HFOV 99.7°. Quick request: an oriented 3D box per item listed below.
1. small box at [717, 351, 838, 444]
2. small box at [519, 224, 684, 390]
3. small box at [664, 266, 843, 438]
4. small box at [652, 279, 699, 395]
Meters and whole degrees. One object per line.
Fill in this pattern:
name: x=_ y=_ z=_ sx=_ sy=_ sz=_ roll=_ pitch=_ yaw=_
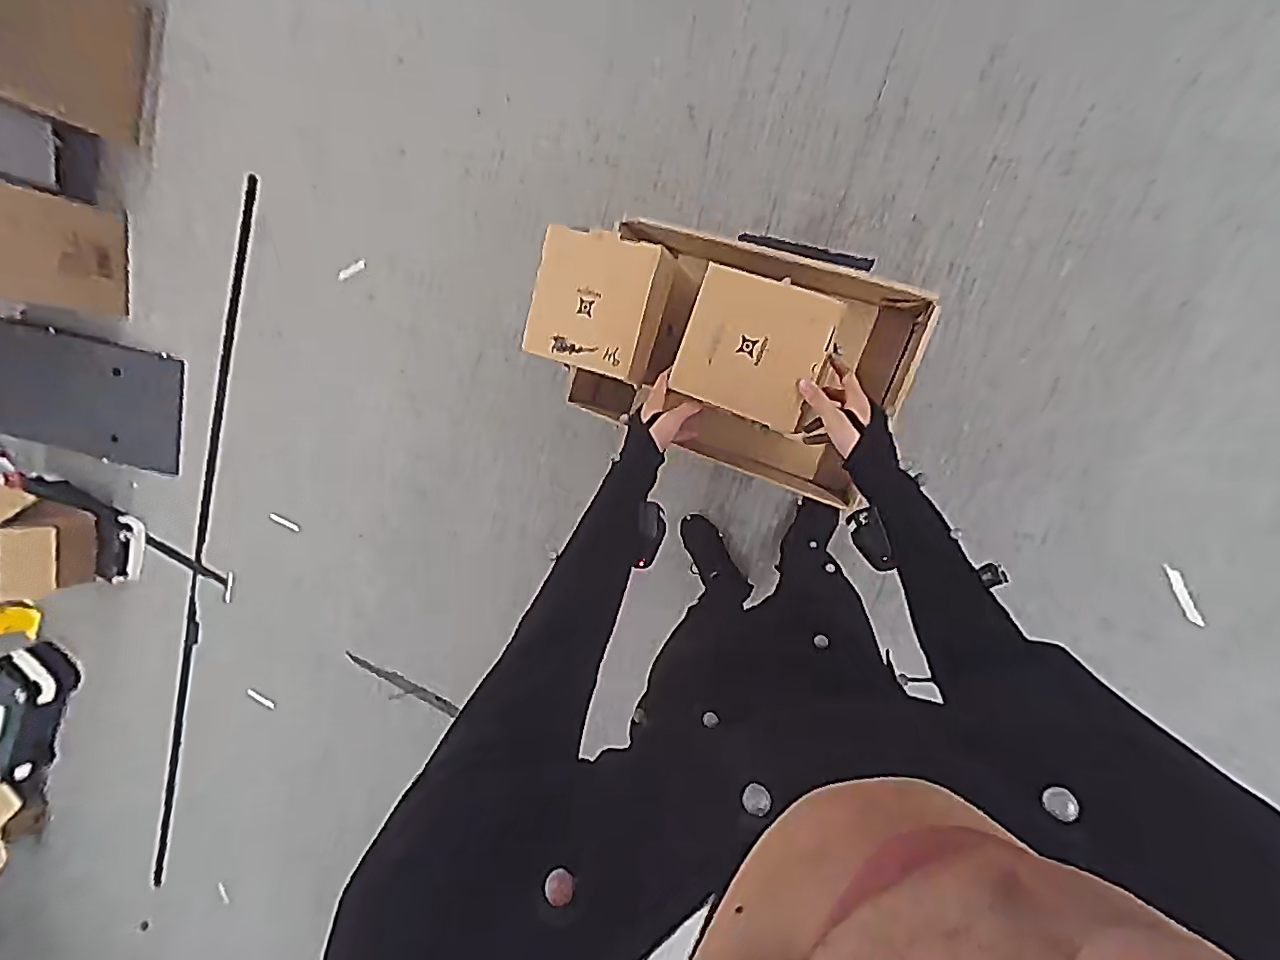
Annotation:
small box: x=0.267 y=-0.181 z=1.045 sx=0.168 sy=0.176 sz=0.179 roll=25 pitch=104 yaw=17
small box: x=-0.046 y=-0.240 z=0.787 sx=0.168 sy=0.176 sz=0.179 roll=20 pitch=101 yaw=16
small box: x=0.161 y=-0.167 z=0.736 sx=0.179 sy=0.176 sz=0.168 roll=24 pitch=103 yaw=18
small box: x=0.010 y=-0.256 z=0.943 sx=0.168 sy=0.176 sz=0.179 roll=19 pitch=102 yaw=15
